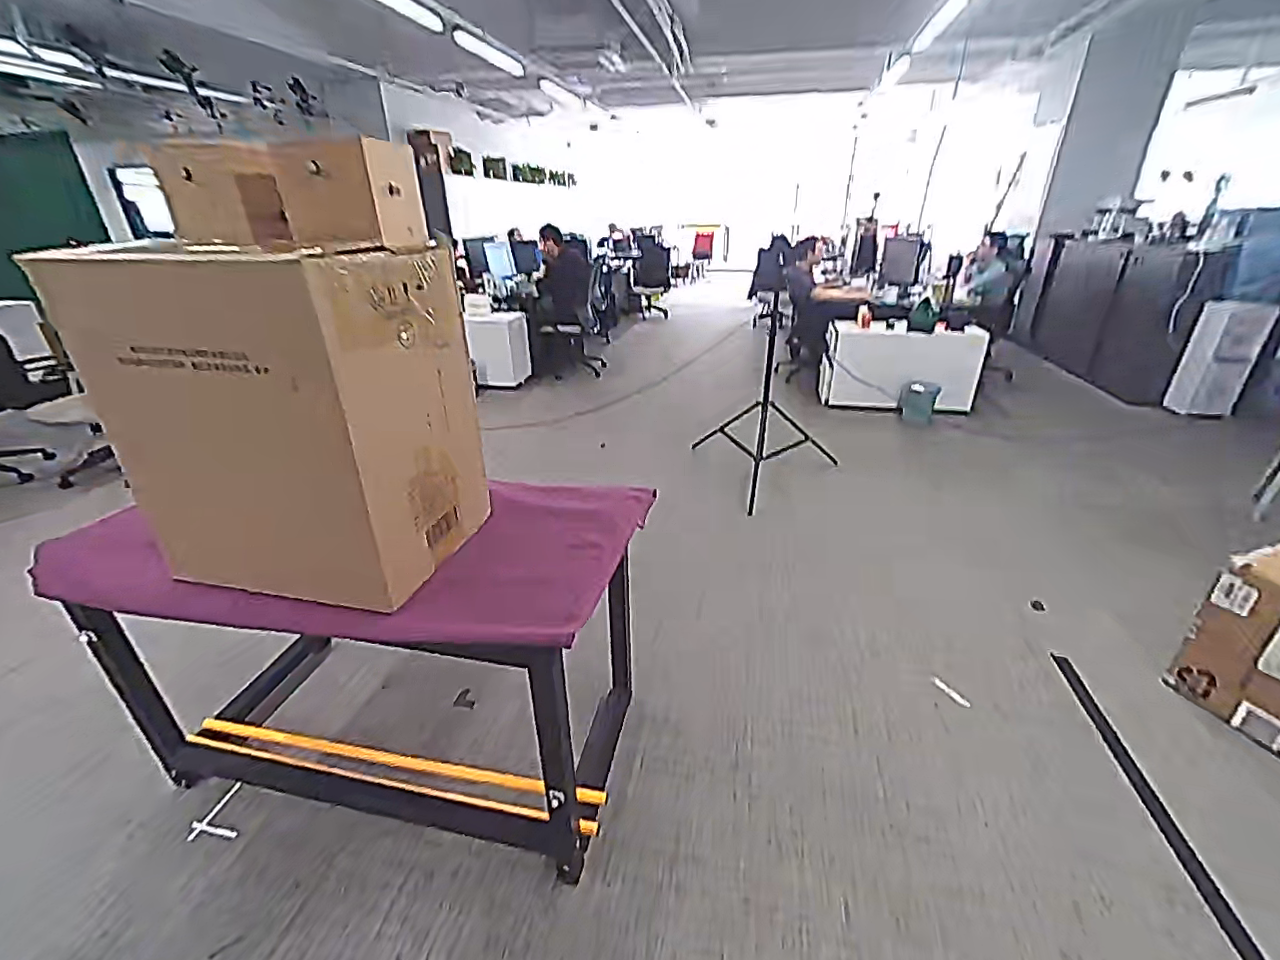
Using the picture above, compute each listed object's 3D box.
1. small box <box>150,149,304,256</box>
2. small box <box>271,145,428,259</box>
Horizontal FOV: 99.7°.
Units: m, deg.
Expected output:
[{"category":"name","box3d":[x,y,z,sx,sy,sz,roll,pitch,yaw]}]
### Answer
[{"category":"small box","box3d":[-0.757,-0.524,1.031,0.179,0.176,0.168,6,28,10]},{"category":"small box","box3d":[-0.517,-0.507,0.994,0.179,0.176,0.168,1,26,8]}]
